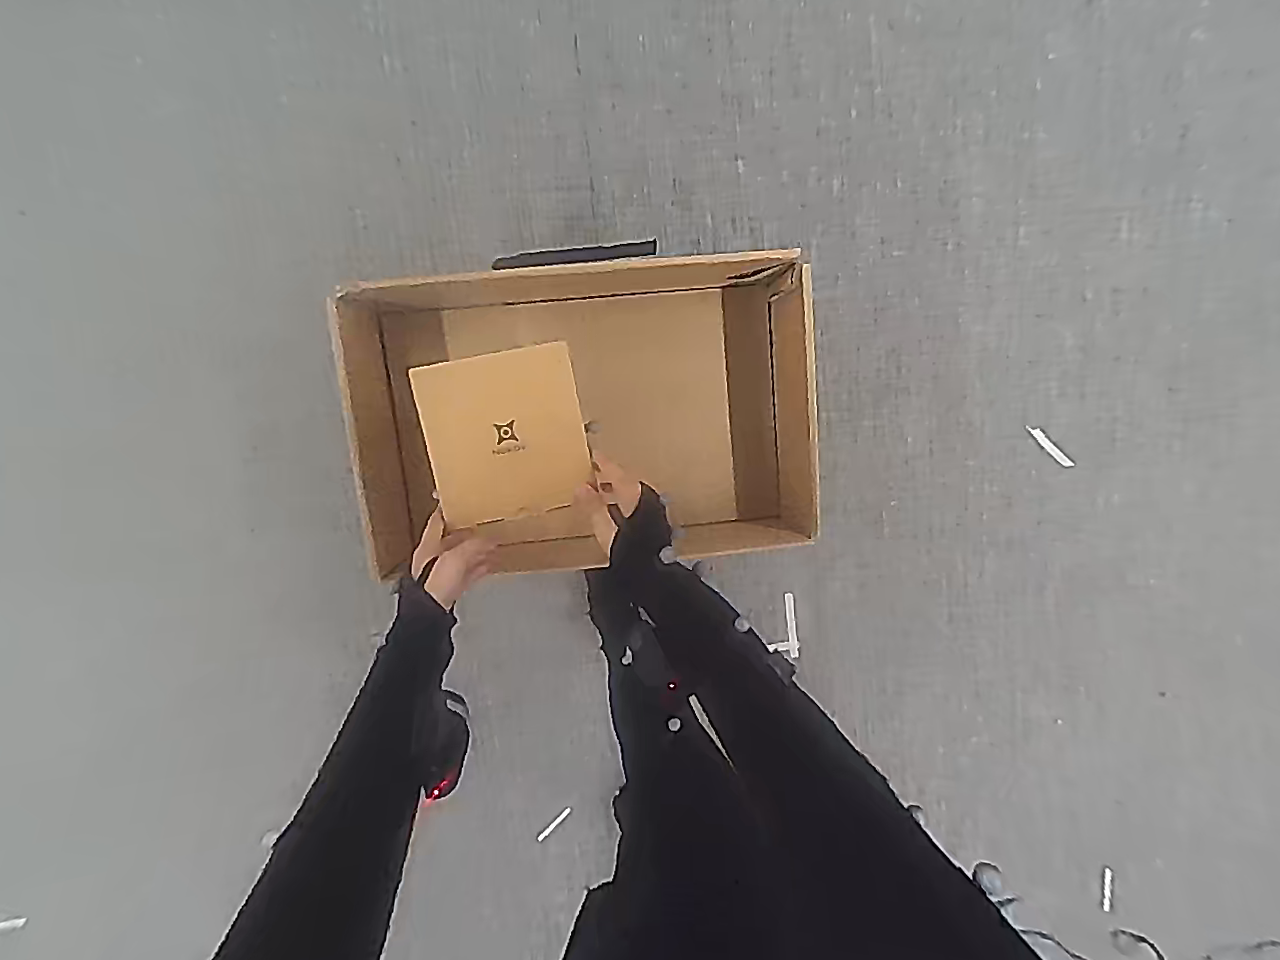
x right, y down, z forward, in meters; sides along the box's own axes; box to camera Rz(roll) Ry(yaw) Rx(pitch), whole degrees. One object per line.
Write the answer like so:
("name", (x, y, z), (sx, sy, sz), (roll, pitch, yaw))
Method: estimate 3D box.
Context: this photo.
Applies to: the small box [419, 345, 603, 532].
("small box", (-0.144, -0.051, 0.652), (0.168, 0.176, 0.179), (-12, 98, -4))
